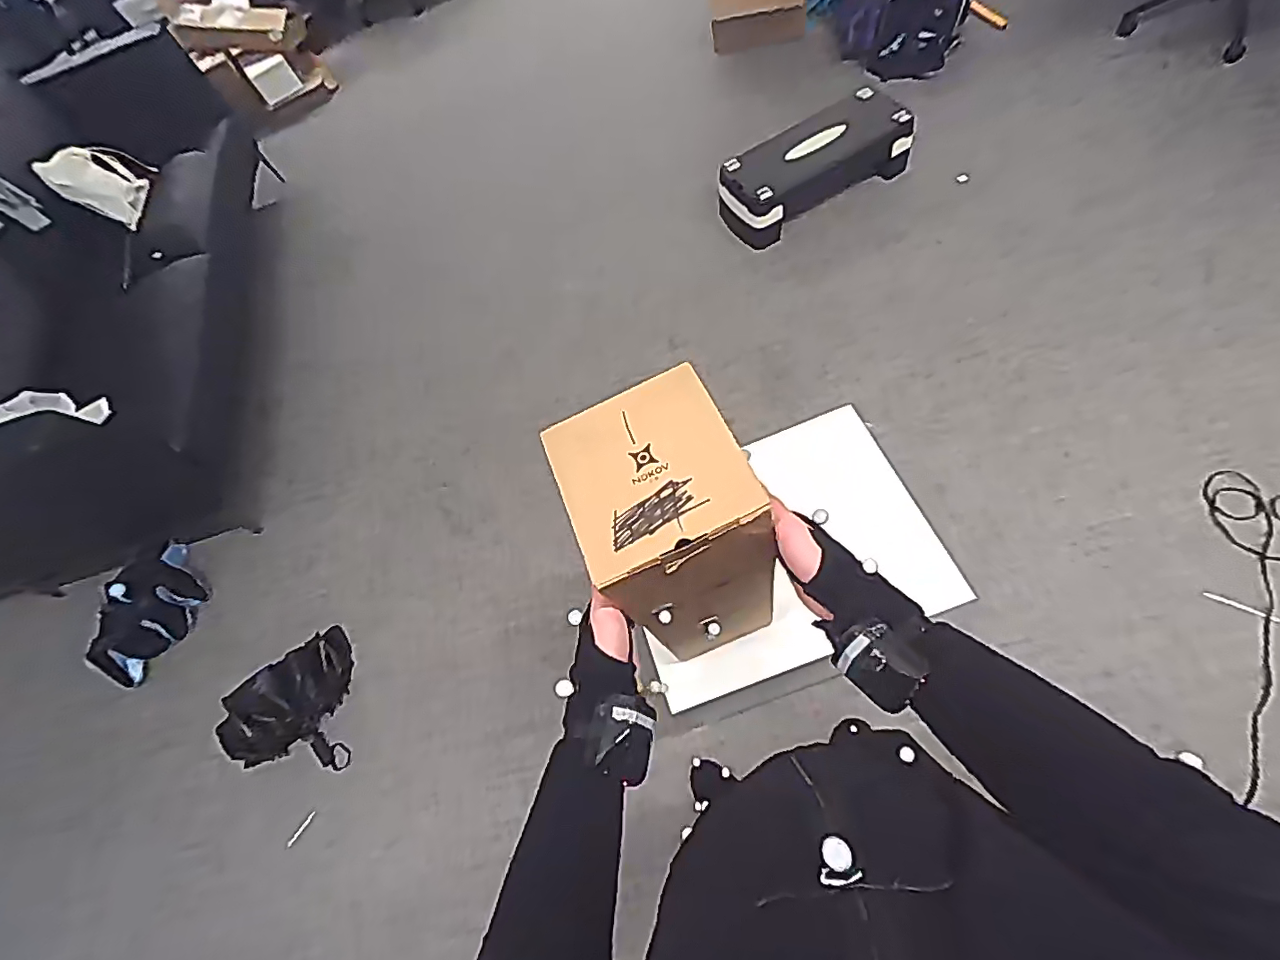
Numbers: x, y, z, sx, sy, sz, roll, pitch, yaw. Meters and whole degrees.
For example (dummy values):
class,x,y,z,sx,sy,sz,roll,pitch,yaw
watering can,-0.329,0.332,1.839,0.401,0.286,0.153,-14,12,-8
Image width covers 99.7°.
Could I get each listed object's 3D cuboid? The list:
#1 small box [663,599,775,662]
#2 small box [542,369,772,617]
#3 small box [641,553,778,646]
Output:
class,x,y,z,sx,sy,sz,roll,pitch,yaw
small box,0.099,0.164,0.851,0.168,0.176,0.179,-23,61,1
small box,0.025,0.027,0.560,0.168,0.176,0.179,-25,59,3
small box,0.065,0.096,0.708,0.168,0.176,0.179,-26,62,1
